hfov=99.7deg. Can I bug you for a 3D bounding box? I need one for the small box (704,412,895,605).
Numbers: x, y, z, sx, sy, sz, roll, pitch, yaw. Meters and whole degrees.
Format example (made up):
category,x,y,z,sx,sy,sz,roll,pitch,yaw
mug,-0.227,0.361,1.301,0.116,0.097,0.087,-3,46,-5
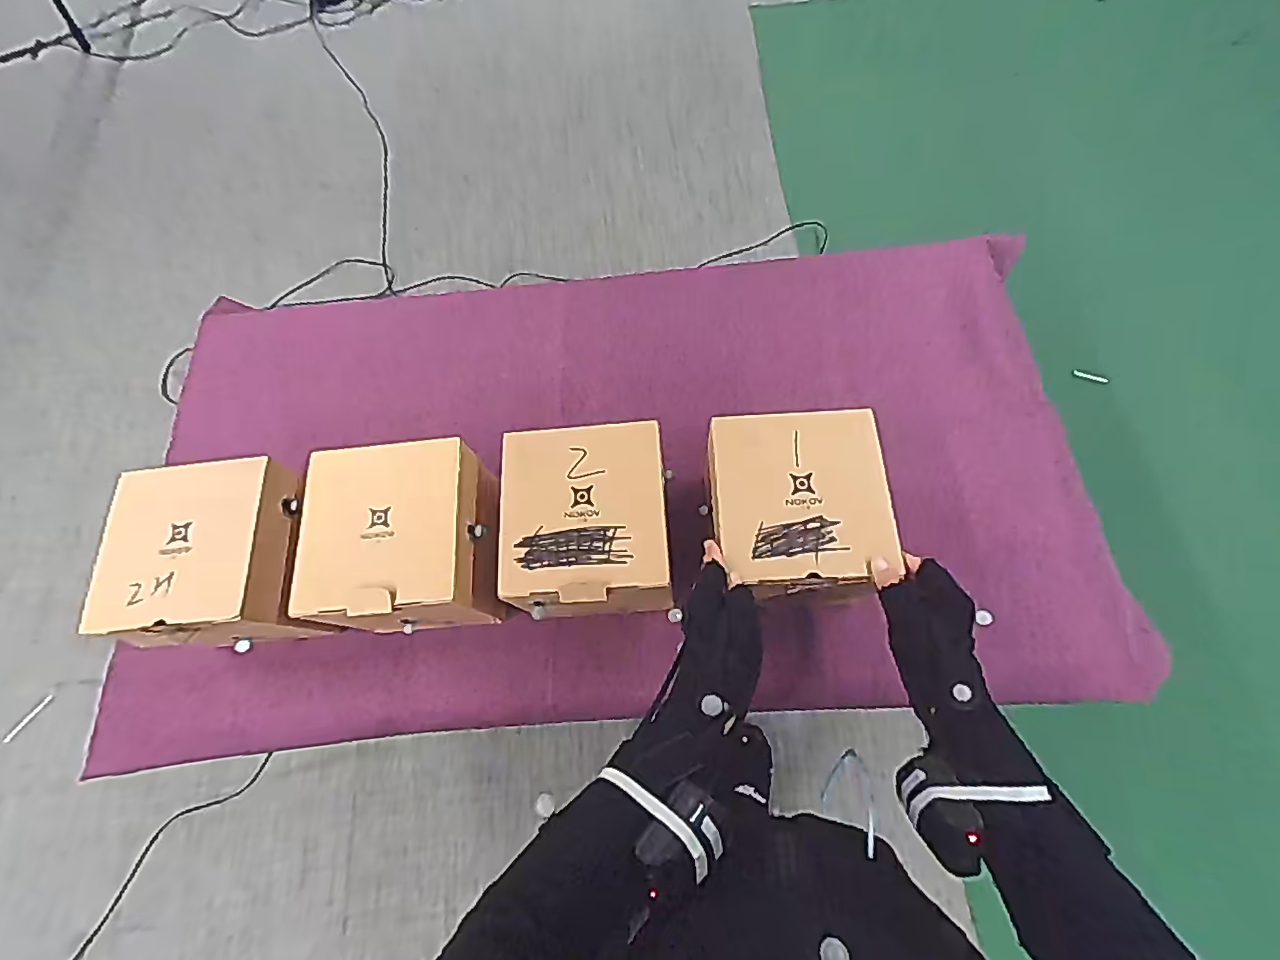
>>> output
category,x,y,z,sx,sy,sz,roll,pitch,yaw
small box,0.159,0.043,0.605,0.168,0.176,0.179,-3,68,4
